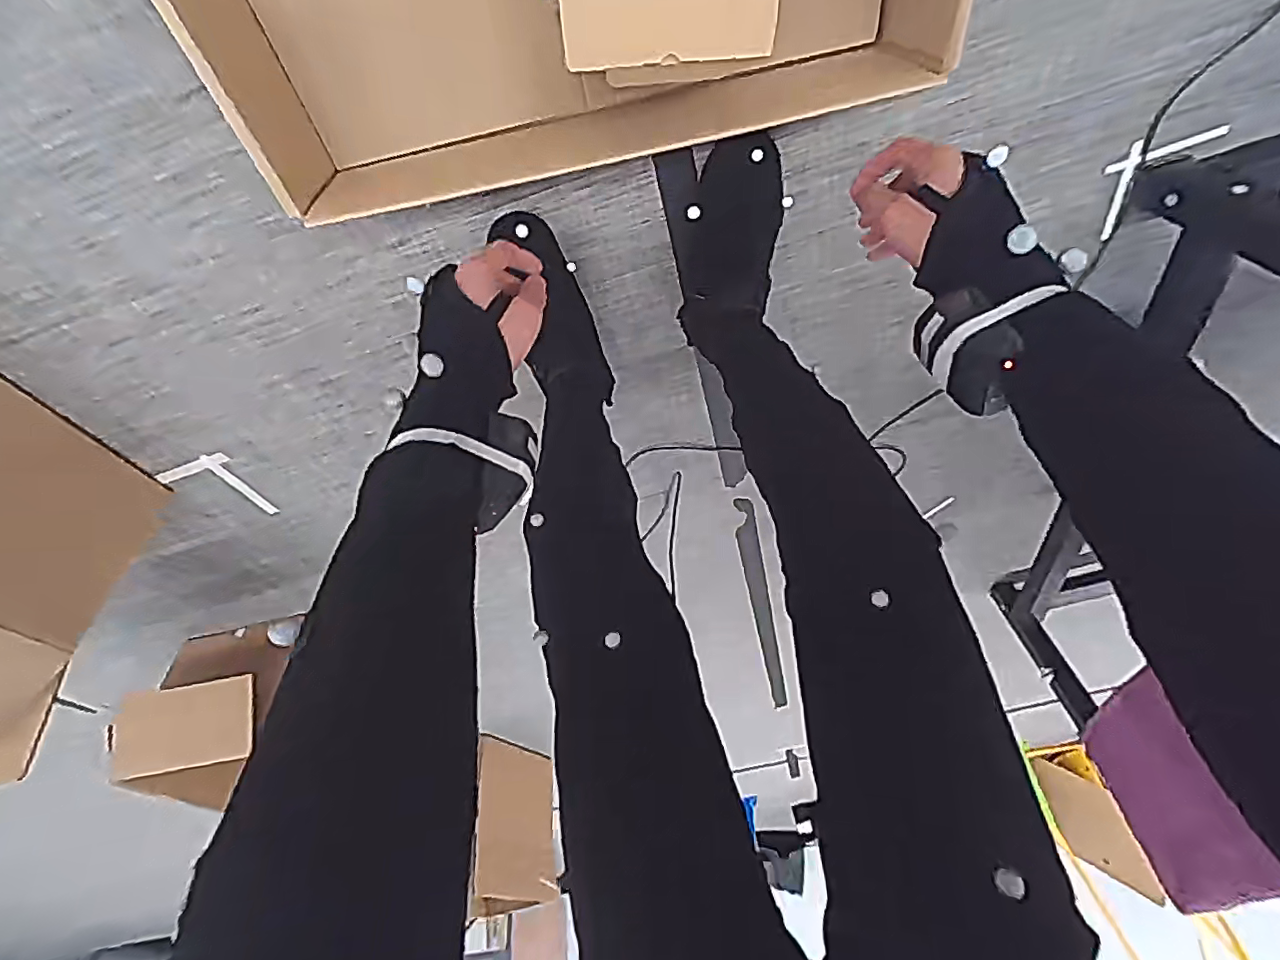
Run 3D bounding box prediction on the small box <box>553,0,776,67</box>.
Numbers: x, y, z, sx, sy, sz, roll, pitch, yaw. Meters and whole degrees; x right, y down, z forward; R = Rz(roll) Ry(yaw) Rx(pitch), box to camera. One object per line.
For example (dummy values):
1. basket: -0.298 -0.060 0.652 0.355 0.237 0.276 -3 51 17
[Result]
1. small box: 0.010 -0.441 0.409 0.168 0.176 0.179 -6 136 -3
